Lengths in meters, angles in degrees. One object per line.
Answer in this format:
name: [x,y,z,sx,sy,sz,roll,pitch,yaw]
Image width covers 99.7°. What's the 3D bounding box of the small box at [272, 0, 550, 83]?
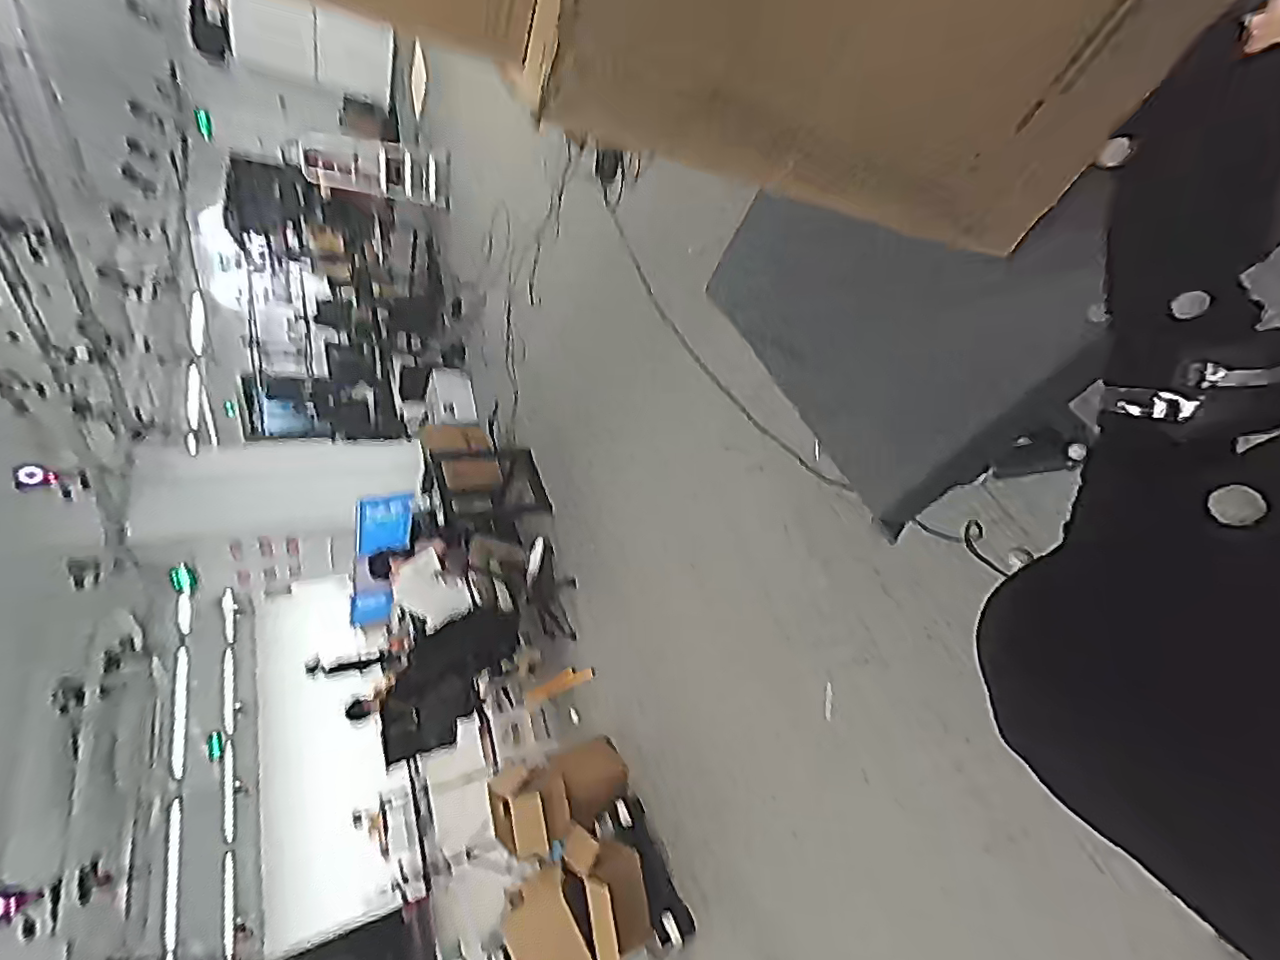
small box: [-0.138,-0.362,0.291,0.168,0.176,0.179,59,139,31]
